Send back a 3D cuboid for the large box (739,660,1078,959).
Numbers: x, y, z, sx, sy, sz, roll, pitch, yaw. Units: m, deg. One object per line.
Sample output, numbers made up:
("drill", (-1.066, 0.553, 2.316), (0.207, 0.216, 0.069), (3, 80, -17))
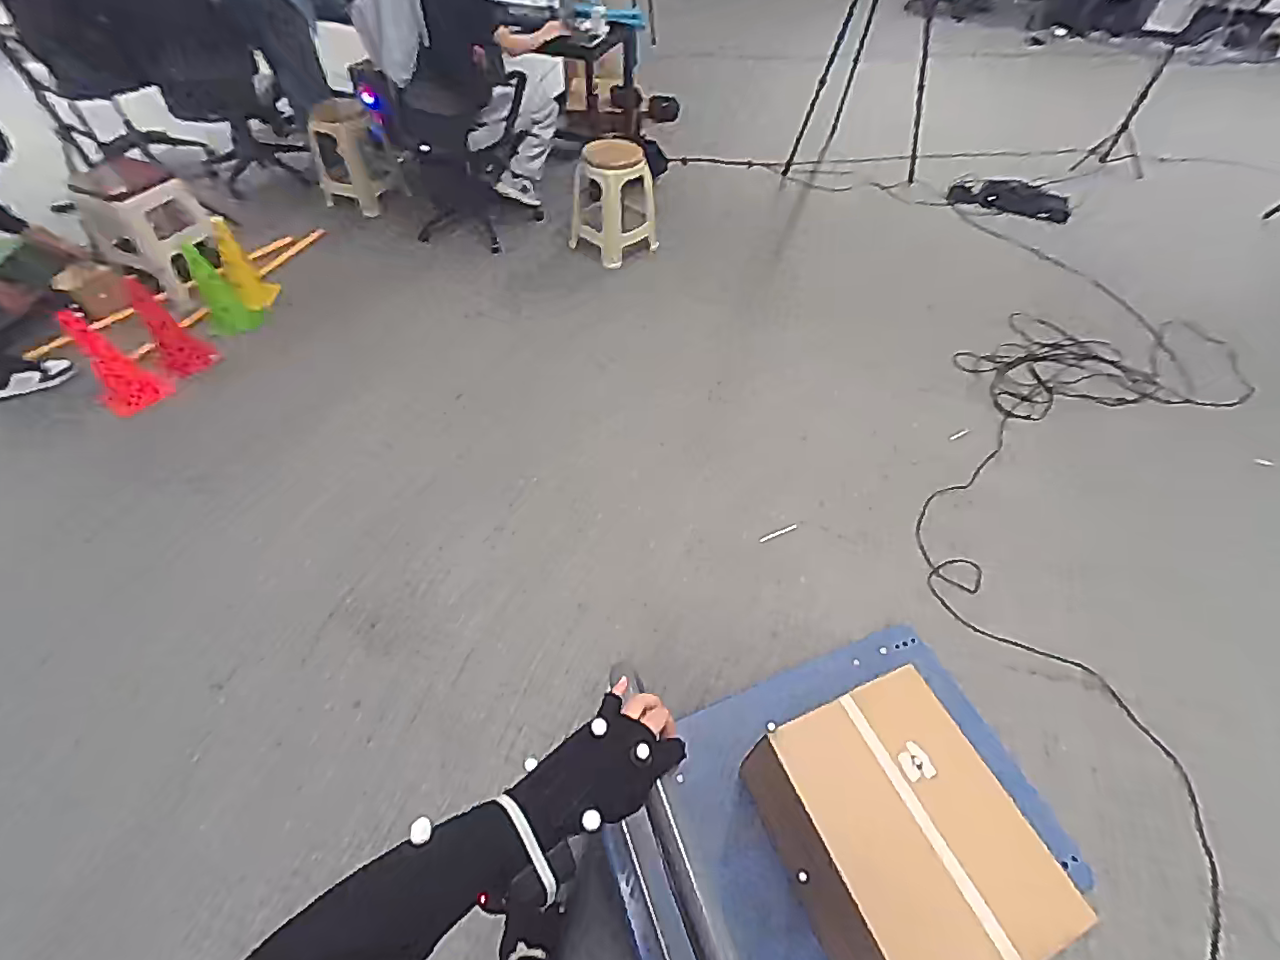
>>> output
("large box", (0.424, 0.615, 0.975), (0.320, 0.320, 0.408), (-18, 53, -14))
